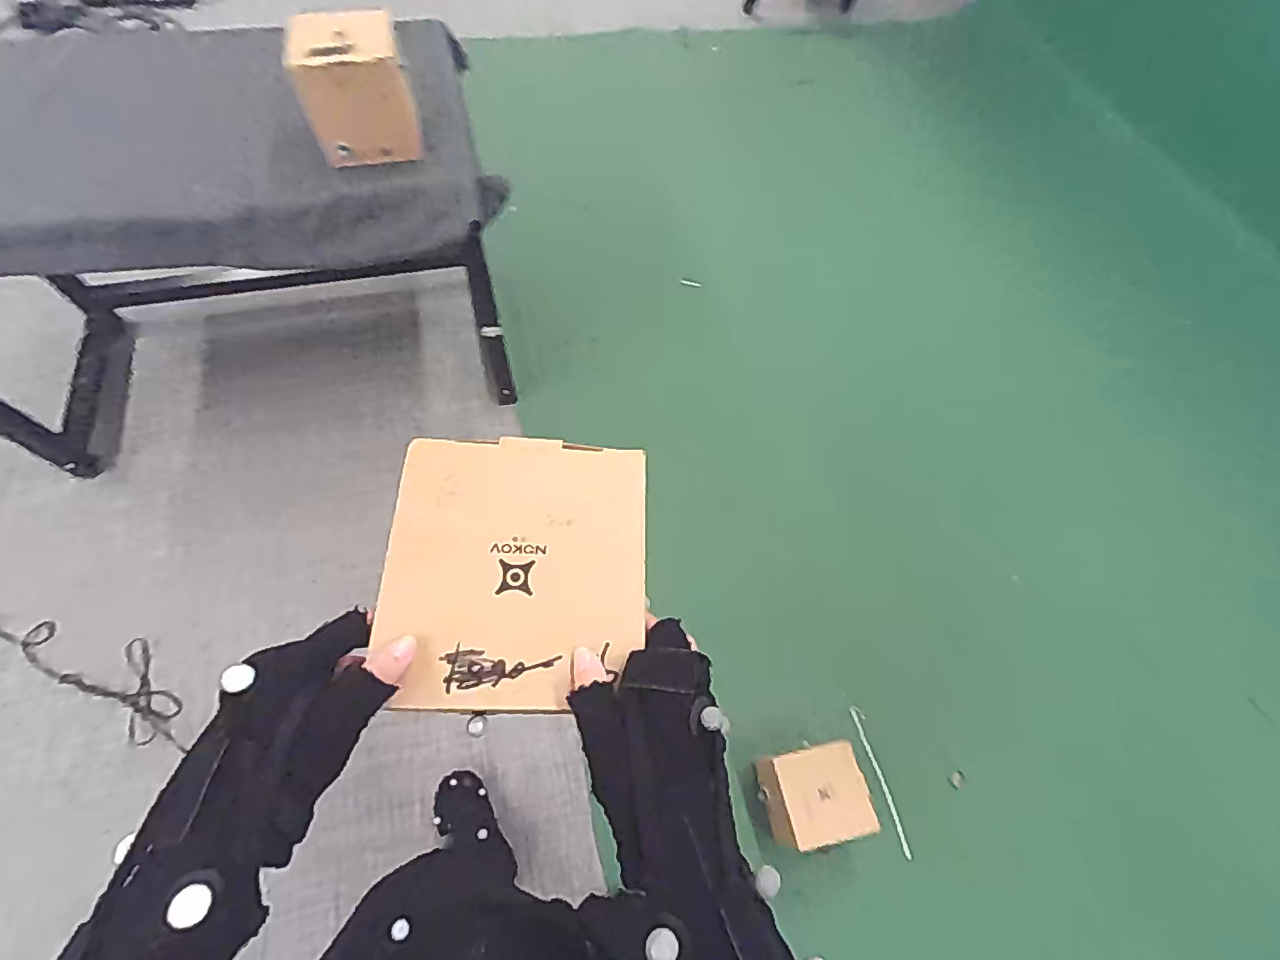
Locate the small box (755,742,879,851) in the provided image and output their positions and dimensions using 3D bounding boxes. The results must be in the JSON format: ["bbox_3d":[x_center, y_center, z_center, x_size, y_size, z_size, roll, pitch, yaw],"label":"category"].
[{"bbox_3d":[0.369,0.670,1.159,0.179,0.176,0.168,-10,62,-8],"label":"small box"}]

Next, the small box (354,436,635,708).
[{"bbox_3d":[-0.094,0.084,0.428,0.168,0.176,0.179,2,67,-5],"label":"small box"}]

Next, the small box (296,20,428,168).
[{"bbox_3d":[-0.499,-0.698,0.991,0.168,0.176,0.179,-11,62,-9],"label":"small box"}]
